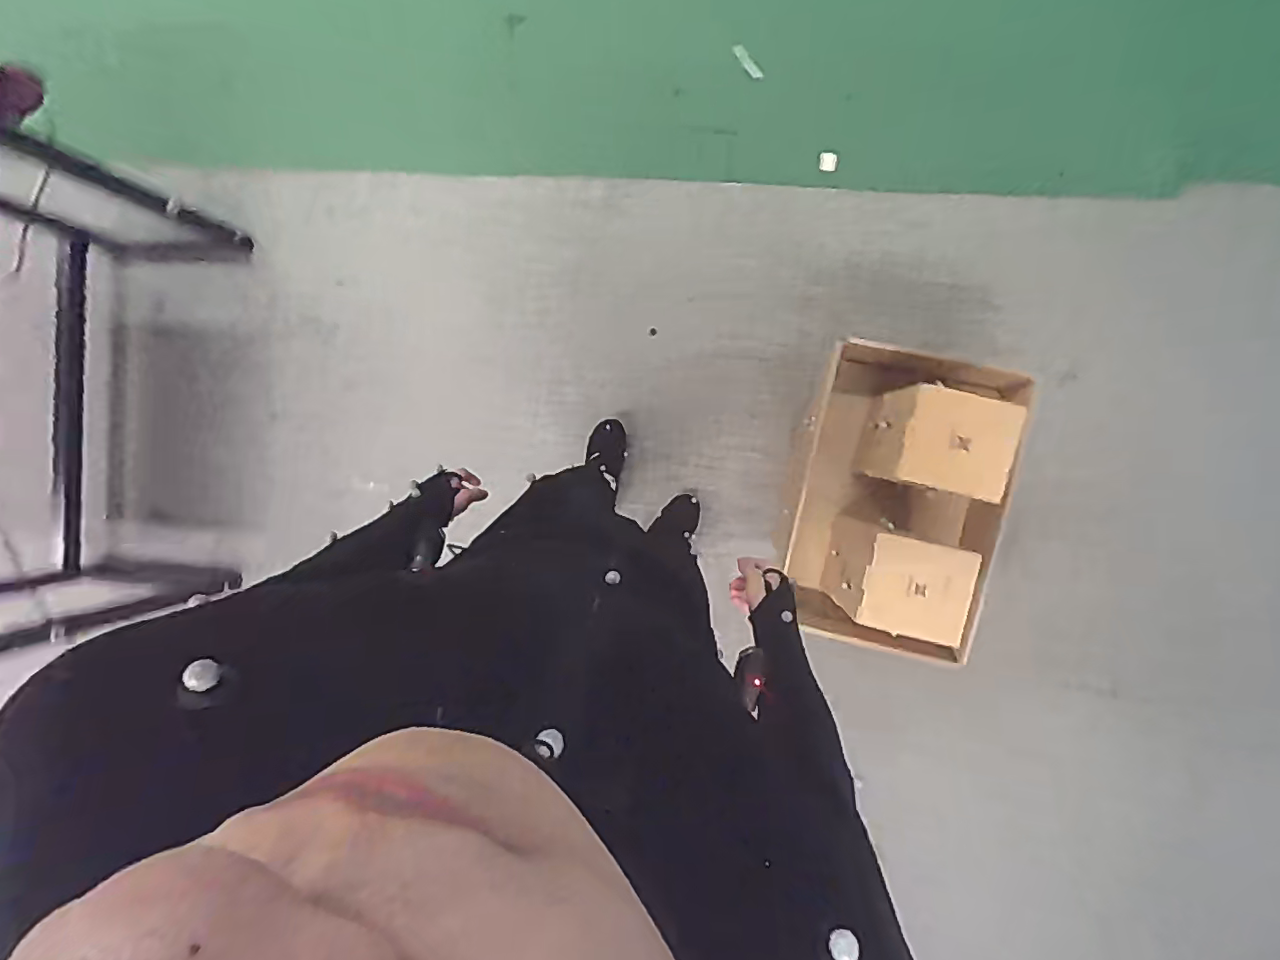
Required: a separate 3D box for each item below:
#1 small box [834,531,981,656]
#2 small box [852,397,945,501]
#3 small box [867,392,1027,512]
[{"bbox_3d":[0.474,0.195,0.990,0.179,0.176,0.168,14,94,5],"label":"small box"},{"bbox_3d":[0.565,-0.064,1.137,0.168,0.176,0.179,15,94,6],"label":"small box"},{"bbox_3d":[0.540,-0.052,0.976,0.179,0.176,0.168,15,95,6],"label":"small box"}]
